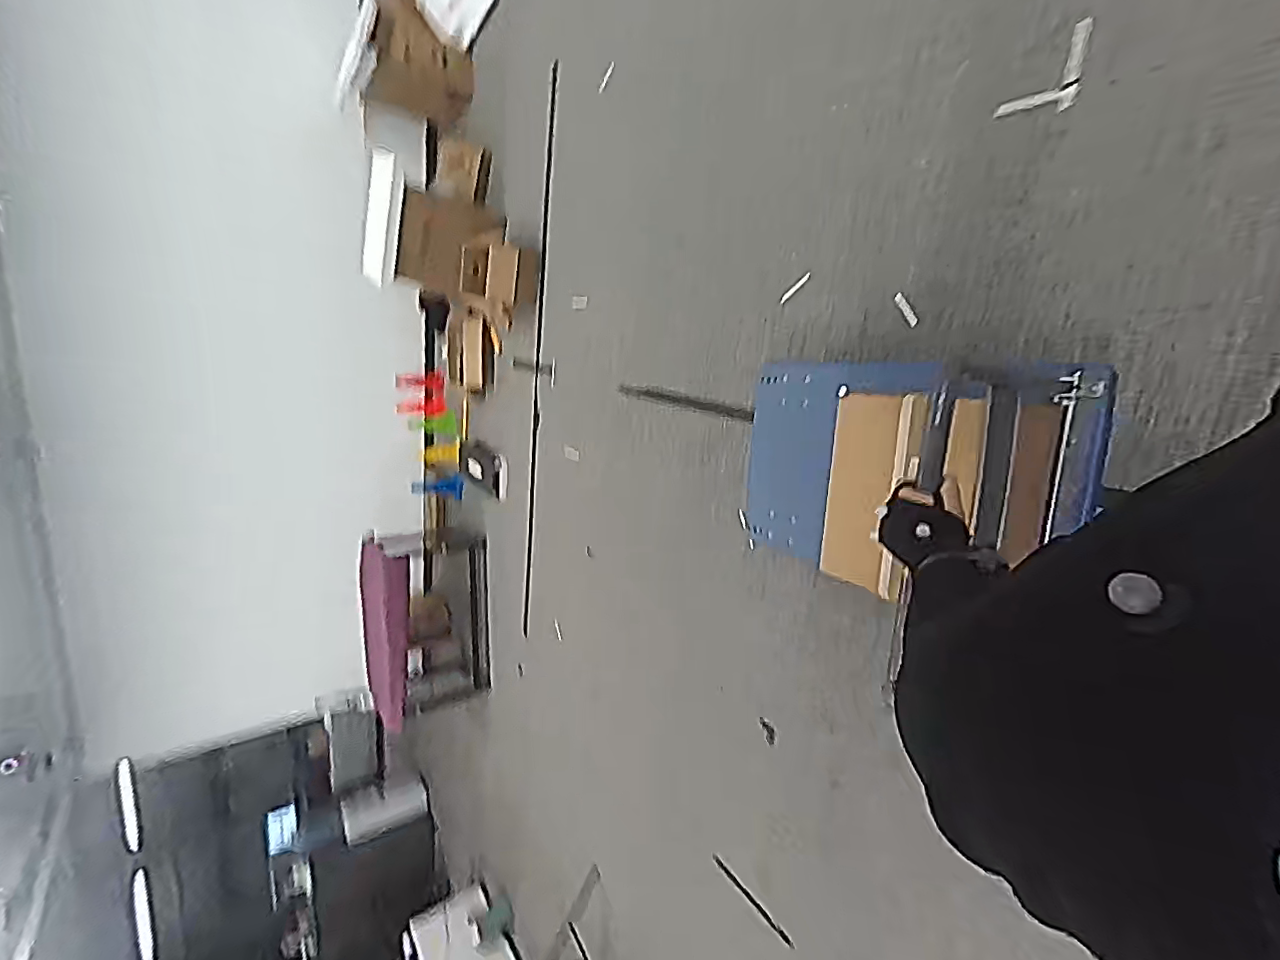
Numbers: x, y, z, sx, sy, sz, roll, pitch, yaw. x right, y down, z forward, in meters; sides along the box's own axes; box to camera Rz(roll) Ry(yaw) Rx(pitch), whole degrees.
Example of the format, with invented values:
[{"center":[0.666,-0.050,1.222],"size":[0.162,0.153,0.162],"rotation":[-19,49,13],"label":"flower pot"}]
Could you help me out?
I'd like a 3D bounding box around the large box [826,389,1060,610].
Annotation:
[{"center":[0.644,0.020,1.168],"size":[0.320,0.320,0.408],"rotation":[16,105,51],"label":"large box"}]
